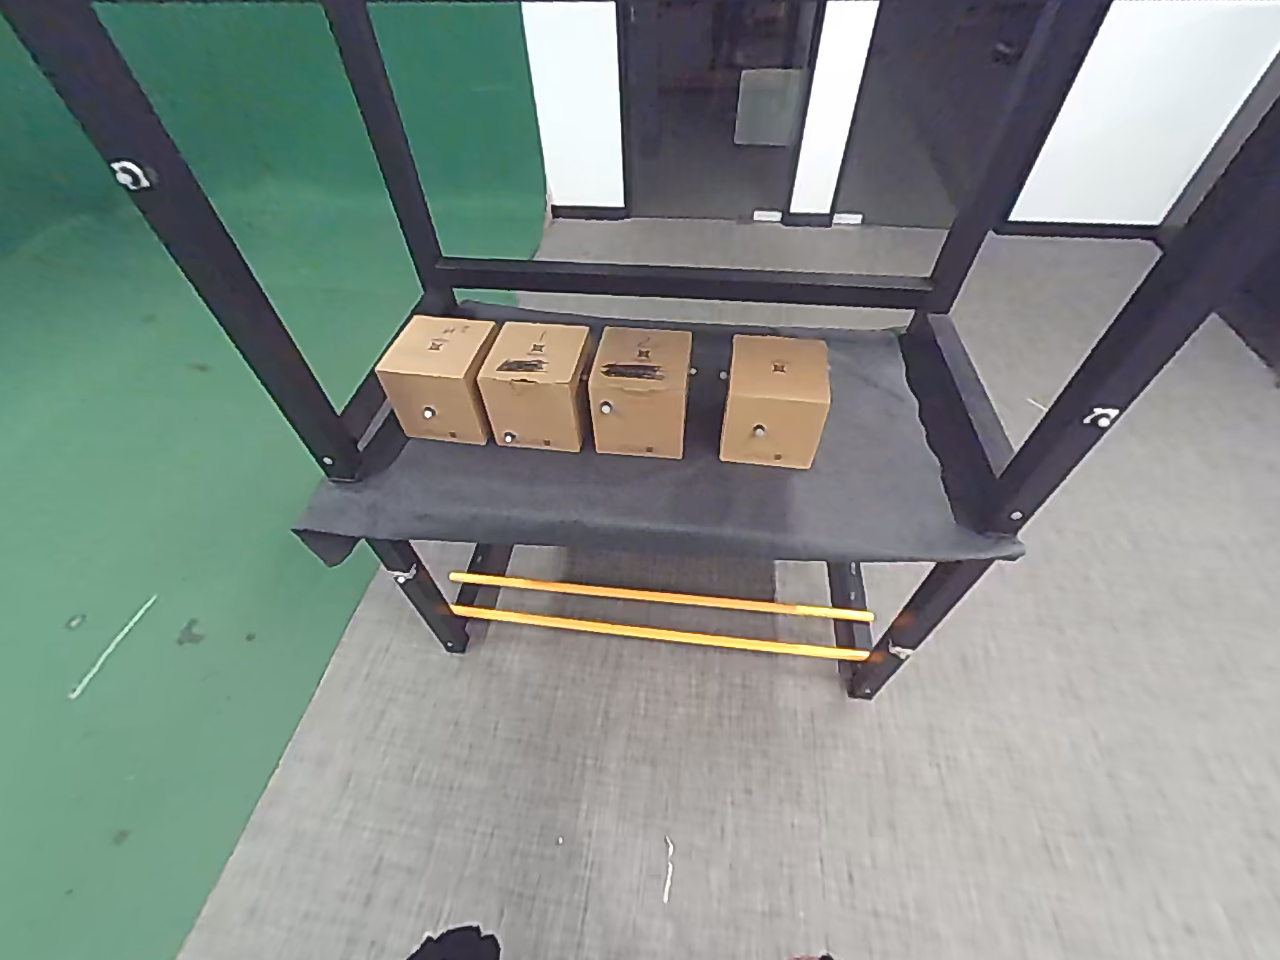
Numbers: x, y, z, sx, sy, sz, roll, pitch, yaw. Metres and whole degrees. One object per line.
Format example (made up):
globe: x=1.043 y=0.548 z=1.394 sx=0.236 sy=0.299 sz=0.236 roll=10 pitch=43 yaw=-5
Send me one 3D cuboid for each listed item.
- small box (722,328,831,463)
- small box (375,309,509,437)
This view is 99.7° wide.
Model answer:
small box: x=0.242 y=-0.151 z=0.984 sx=0.168 sy=0.176 sz=0.179 roll=7 pitch=50 yaw=7
small box: x=-0.365 y=-0.202 z=1.040 sx=0.168 sy=0.176 sz=0.179 roll=8 pitch=50 yaw=6
